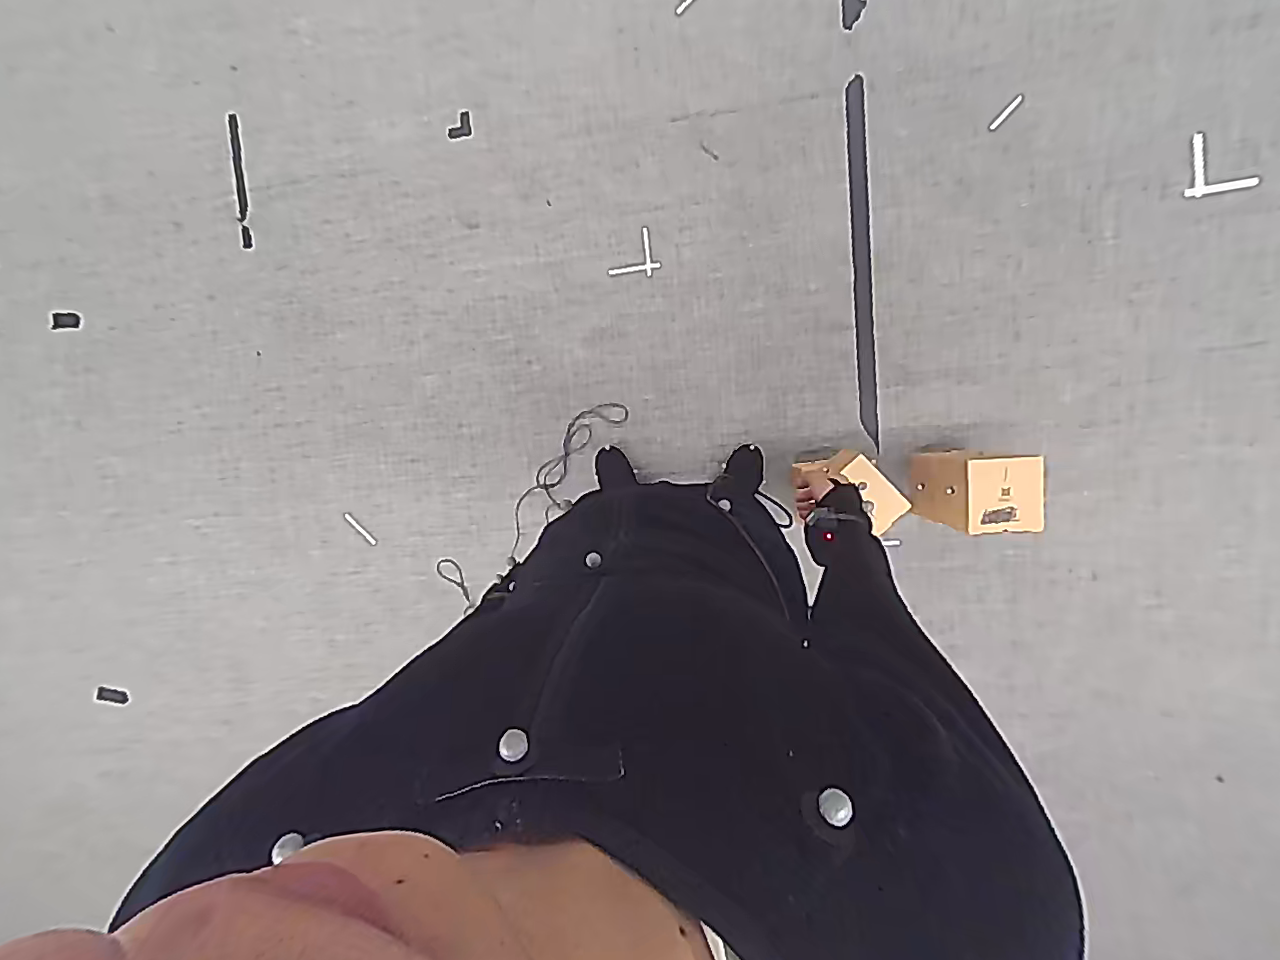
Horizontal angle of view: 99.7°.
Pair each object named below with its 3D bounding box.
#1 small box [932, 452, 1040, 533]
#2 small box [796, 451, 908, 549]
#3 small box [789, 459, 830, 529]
[{"bbox_3d":[0.833,0.027,1.315,0.168,0.176,0.179,-3,94,5],"label":"small box"},{"bbox_3d":[0.517,0.043,1.350,0.168,0.176,0.179,-44,91,8],"label":"small box"},{"bbox_3d":[0.521,0.032,1.514,0.168,0.176,0.179,-7,95,6],"label":"small box"}]
